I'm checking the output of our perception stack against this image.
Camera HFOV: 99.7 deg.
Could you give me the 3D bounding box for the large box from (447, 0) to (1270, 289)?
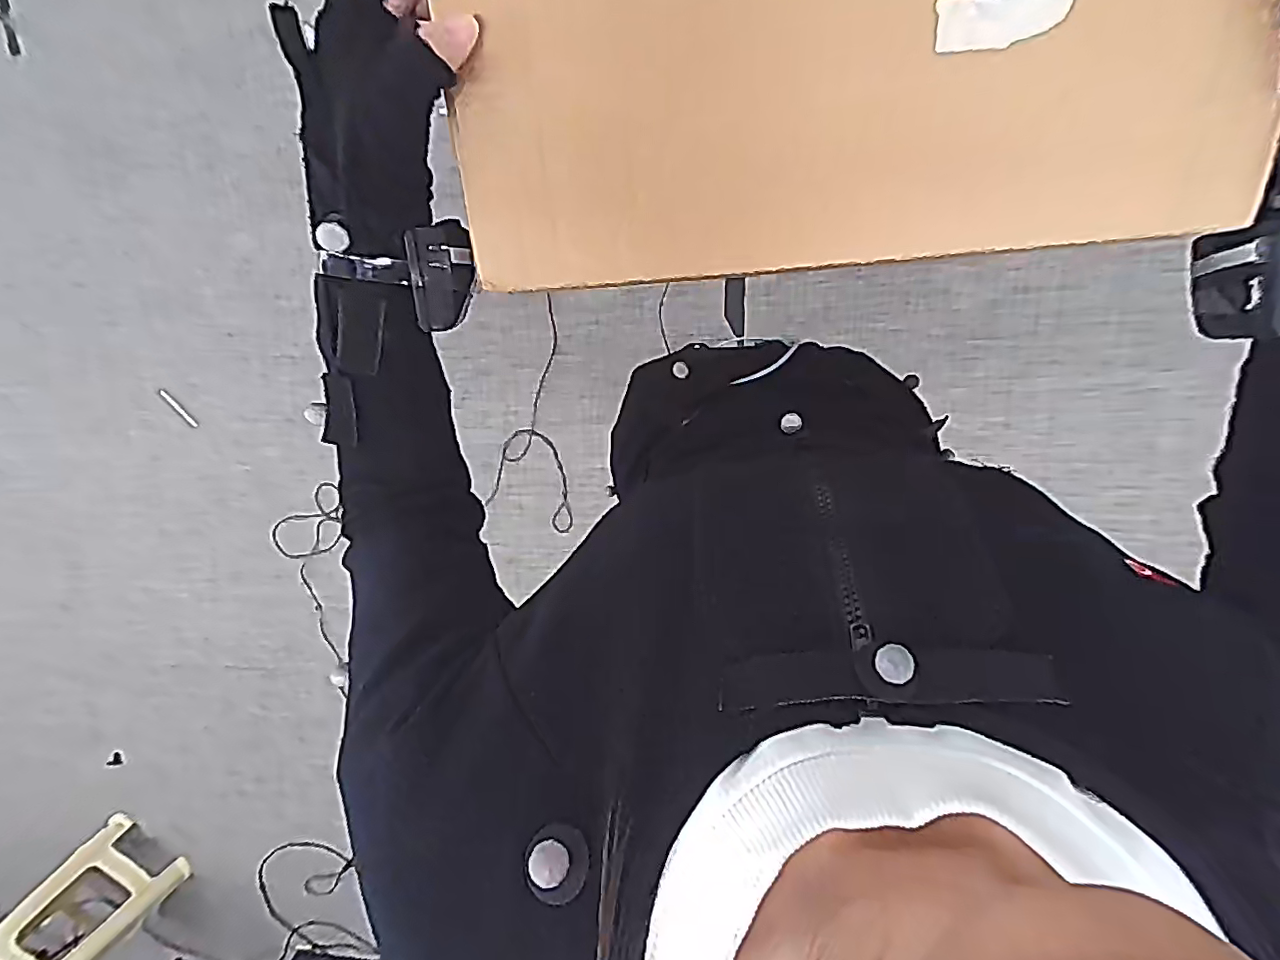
[{"bbox_3d":[0.104,-0.324,0.394,0.408,0.320,0.320,-3,111,5],"label":"large box"}]
